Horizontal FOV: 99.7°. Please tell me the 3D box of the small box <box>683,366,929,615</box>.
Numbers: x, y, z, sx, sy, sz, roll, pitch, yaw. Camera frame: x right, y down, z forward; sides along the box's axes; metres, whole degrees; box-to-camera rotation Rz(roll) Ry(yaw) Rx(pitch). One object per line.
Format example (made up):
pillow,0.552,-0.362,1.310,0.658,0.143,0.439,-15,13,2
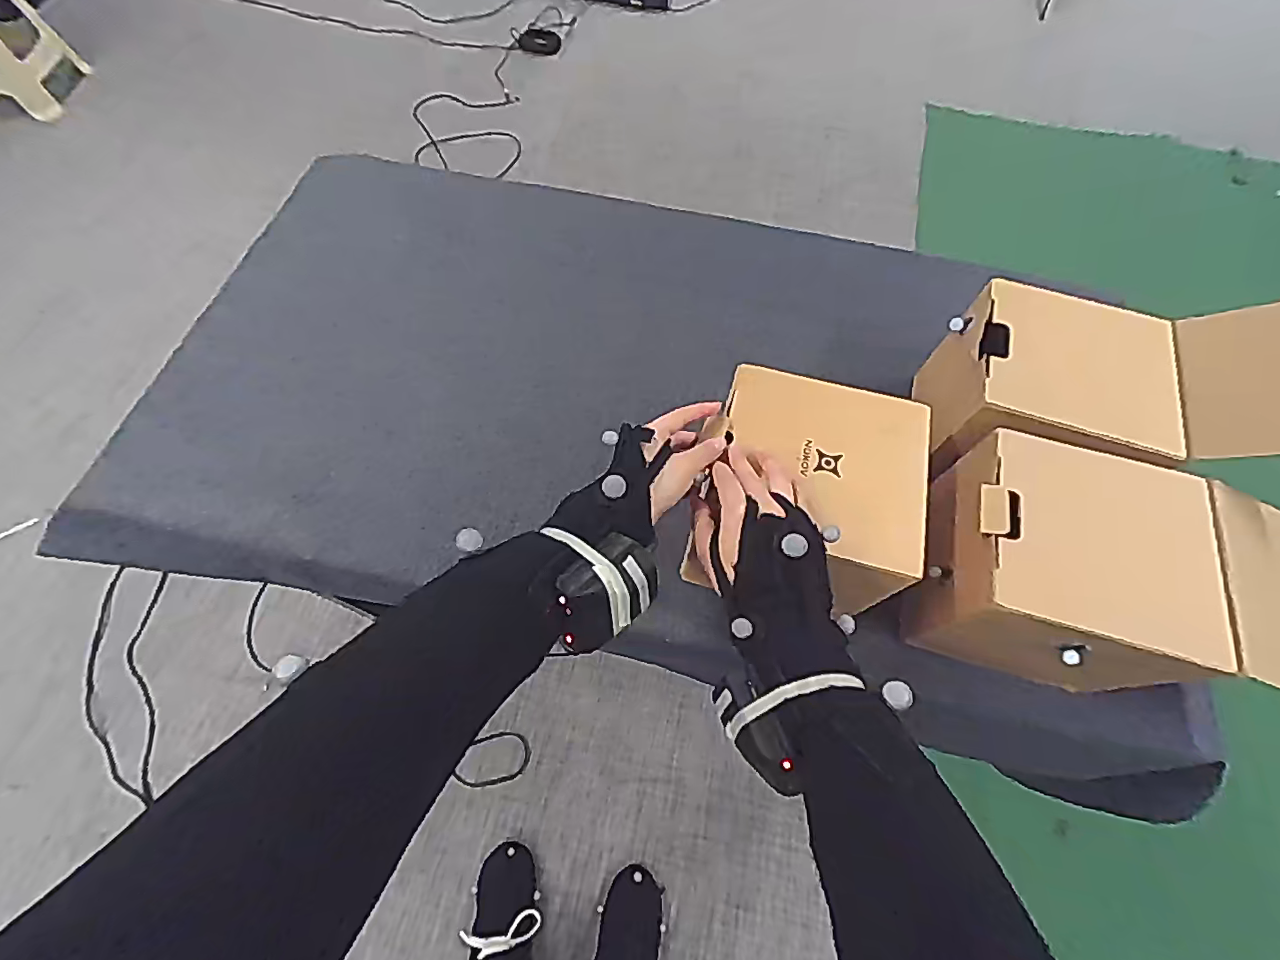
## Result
small box,0.148,0.021,0.524,0.179,0.176,0.168,14,65,6
